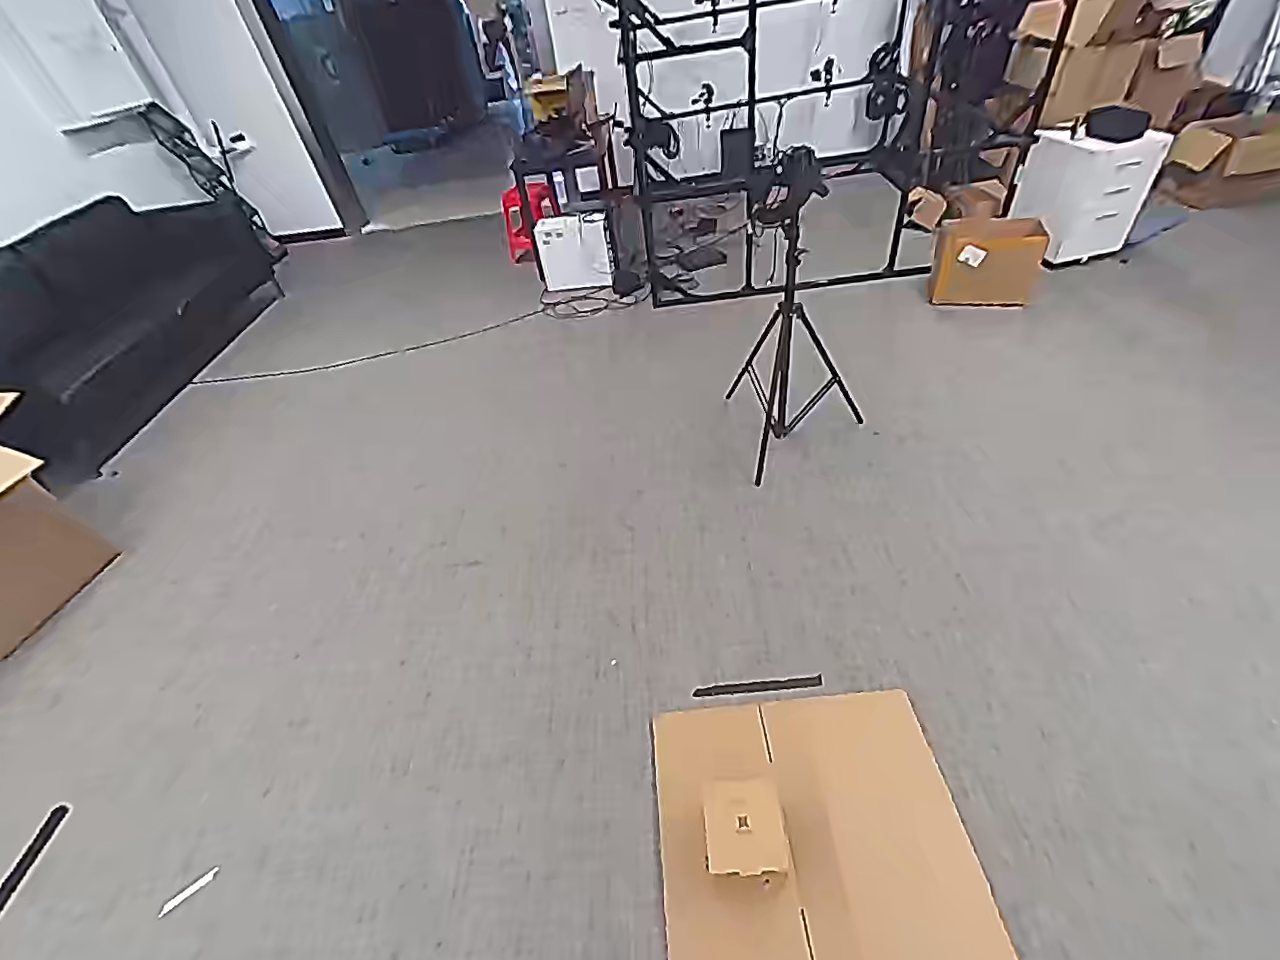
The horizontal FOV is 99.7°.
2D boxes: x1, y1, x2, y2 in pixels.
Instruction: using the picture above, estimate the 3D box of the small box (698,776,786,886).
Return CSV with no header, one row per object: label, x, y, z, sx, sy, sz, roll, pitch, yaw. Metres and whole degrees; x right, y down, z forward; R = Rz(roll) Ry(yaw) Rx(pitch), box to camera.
small box,0.223,0.788,1.208,0.168,0.176,0.179,-5,43,2
